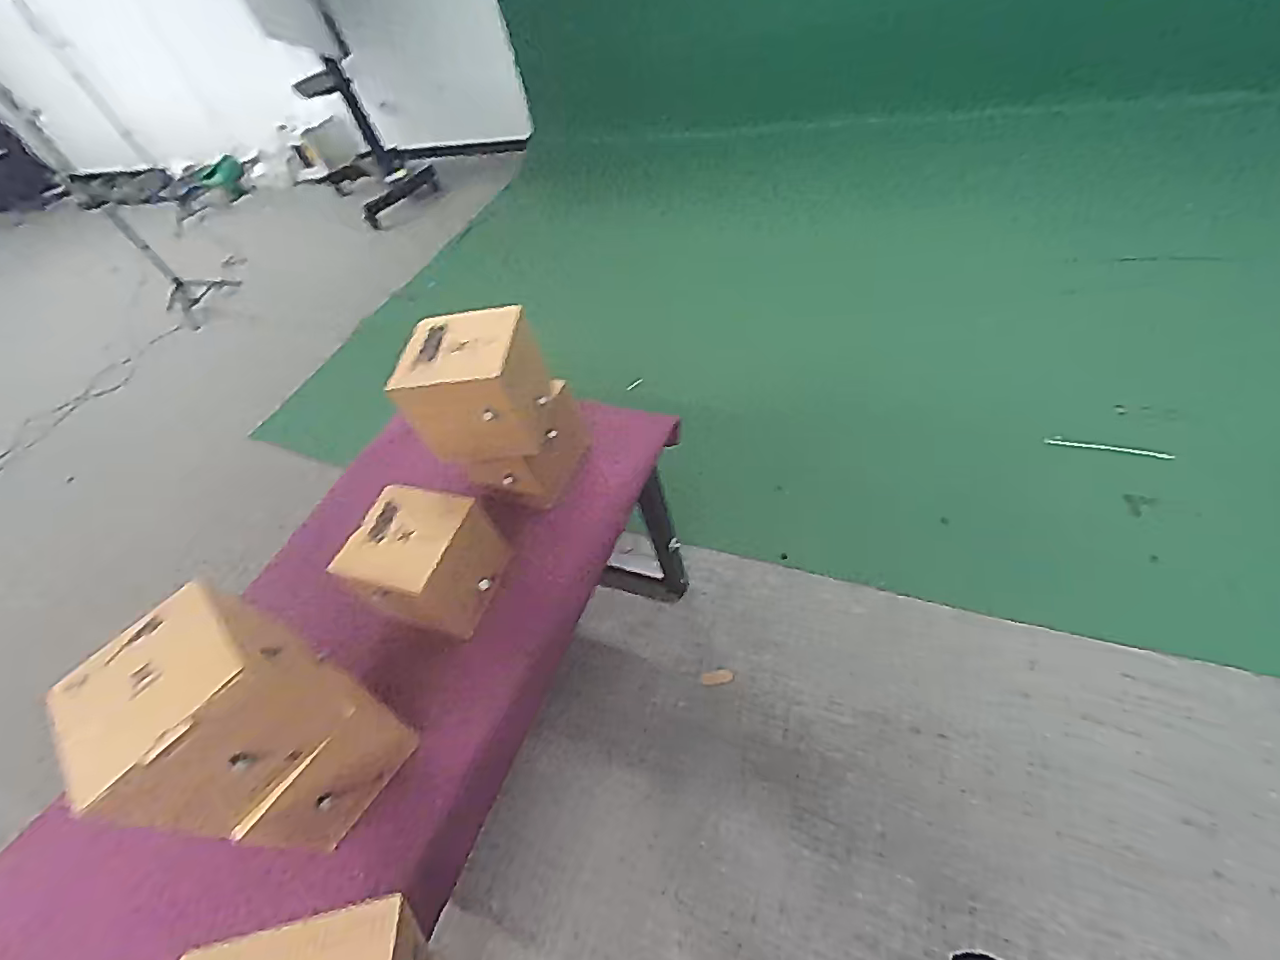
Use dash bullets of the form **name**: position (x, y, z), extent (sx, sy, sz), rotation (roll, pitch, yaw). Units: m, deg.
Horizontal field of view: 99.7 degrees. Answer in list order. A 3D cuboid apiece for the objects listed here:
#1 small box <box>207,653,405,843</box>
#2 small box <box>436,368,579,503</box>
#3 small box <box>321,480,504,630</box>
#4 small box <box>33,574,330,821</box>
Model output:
- **small box**: position (-0.455, 0.350, 0.720), extent (0.179, 0.176, 0.168), rotation (24, 61, 29)
- **small box**: position (-0.233, -0.081, 1.005), extent (0.168, 0.176, 0.179), rotation (13, 57, 23)
- **small box**: position (-0.354, 0.124, 0.873), extent (0.179, 0.176, 0.168), rotation (9, 55, 19)
- **small box**: position (-0.490, 0.244, 0.599), extent (0.179, 0.176, 0.168), rotation (31, 65, 32)
